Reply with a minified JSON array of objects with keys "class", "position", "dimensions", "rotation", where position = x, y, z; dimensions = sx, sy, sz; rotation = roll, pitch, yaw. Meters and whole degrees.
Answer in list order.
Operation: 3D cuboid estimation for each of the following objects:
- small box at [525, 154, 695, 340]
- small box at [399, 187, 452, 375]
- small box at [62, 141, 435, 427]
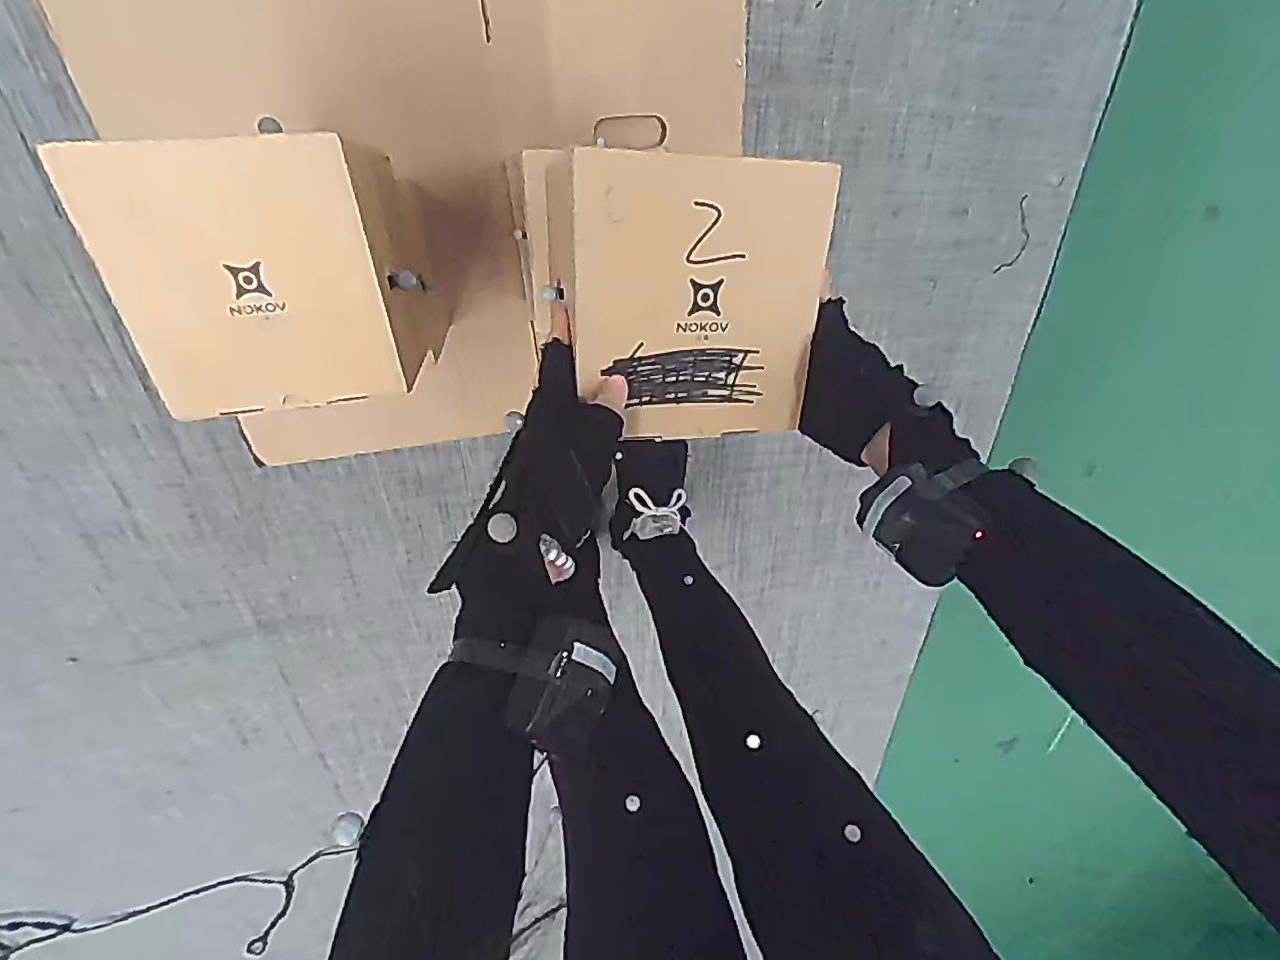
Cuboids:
[{"class":"small box","position":[-0.043,-0.272,0.630],"dimensions":[0.168,0.176,0.179],"rotation":[-5,120,-11]},{"class":"small box","position":[-0.313,-0.213,0.590],"dimensions":[0.168,0.176,0.179],"rotation":[-11,120,-8]},{"class":"small box","position":[-0.275,-0.162,0.437],"dimensions":[0.168,0.176,0.179],"rotation":[-9,120,-10]}]
